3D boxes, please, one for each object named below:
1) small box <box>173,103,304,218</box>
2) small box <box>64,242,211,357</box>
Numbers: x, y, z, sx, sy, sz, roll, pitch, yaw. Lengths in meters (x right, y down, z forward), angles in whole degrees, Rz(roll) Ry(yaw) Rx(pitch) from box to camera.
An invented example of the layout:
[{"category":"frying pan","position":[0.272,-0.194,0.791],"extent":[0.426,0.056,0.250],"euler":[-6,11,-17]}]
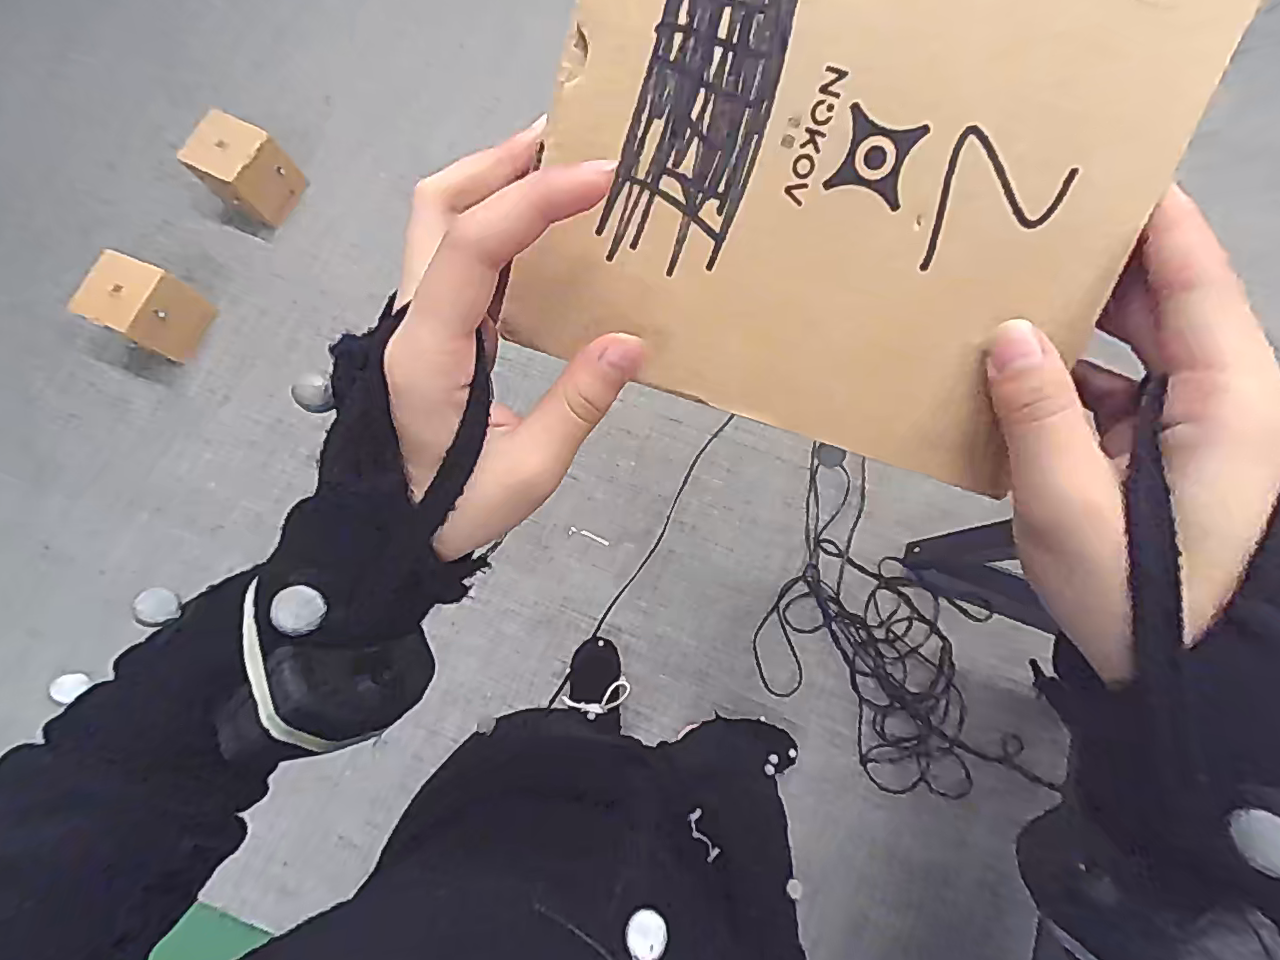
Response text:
[{"category":"small box","position":[-1.027,-0.816,1.401],"extent":[0.179,0.176,0.168],"euler":[25,78,7]},{"category":"small box","position":[-1.210,-0.434,1.321],"extent":[0.168,0.176,0.179],"euler":[21,79,5]}]
